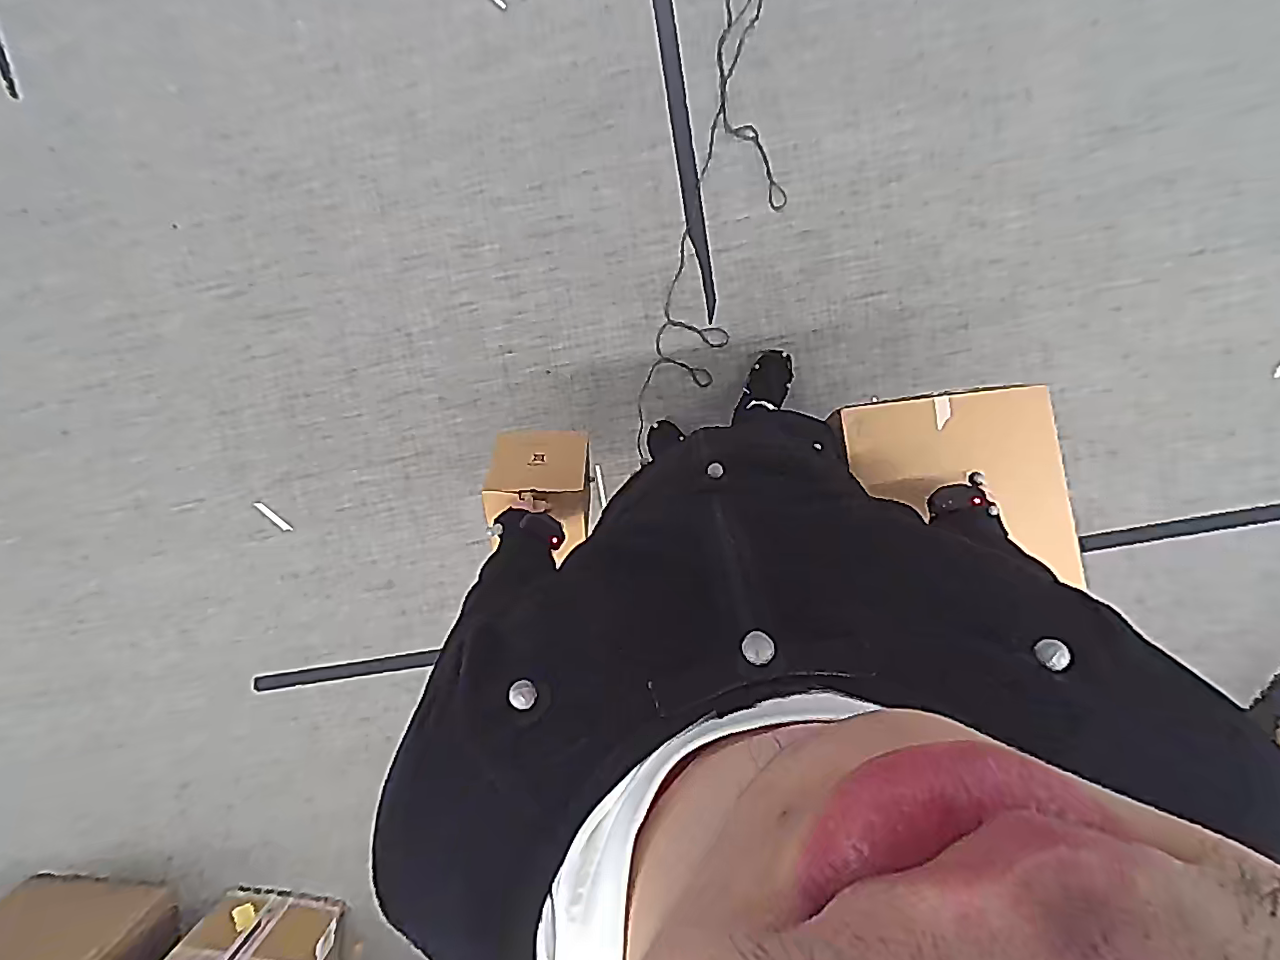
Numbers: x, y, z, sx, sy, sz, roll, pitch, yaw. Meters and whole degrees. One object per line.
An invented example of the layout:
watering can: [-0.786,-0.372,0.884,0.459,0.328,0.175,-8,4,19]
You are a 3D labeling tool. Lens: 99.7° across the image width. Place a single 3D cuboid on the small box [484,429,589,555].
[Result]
small box: [-0.181,0.023,0.998,0.168,0.179,0.176,1,130,-4]
